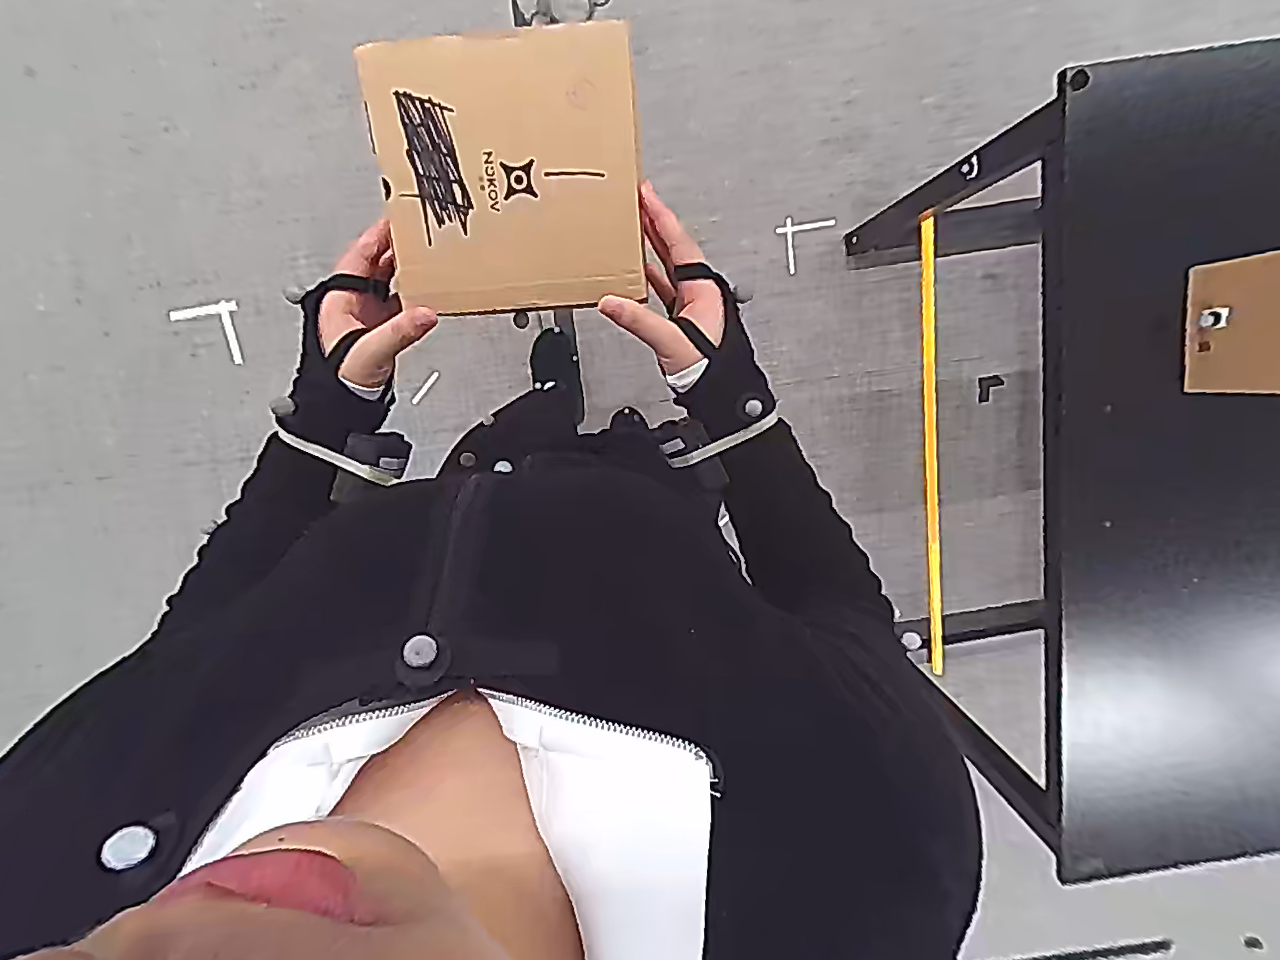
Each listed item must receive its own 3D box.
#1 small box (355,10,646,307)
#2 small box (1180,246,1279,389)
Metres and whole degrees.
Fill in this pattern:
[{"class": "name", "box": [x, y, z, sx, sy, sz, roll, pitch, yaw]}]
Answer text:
[{"class": "small box", "box": [-0.087, -0.230, 0.435, 0.179, 0.176, 0.168, -3, 108, 2]}, {"class": "small box", "box": [0.821, -0.205, 0.651, 0.179, 0.176, 0.168, -10, 99, 1]}]
